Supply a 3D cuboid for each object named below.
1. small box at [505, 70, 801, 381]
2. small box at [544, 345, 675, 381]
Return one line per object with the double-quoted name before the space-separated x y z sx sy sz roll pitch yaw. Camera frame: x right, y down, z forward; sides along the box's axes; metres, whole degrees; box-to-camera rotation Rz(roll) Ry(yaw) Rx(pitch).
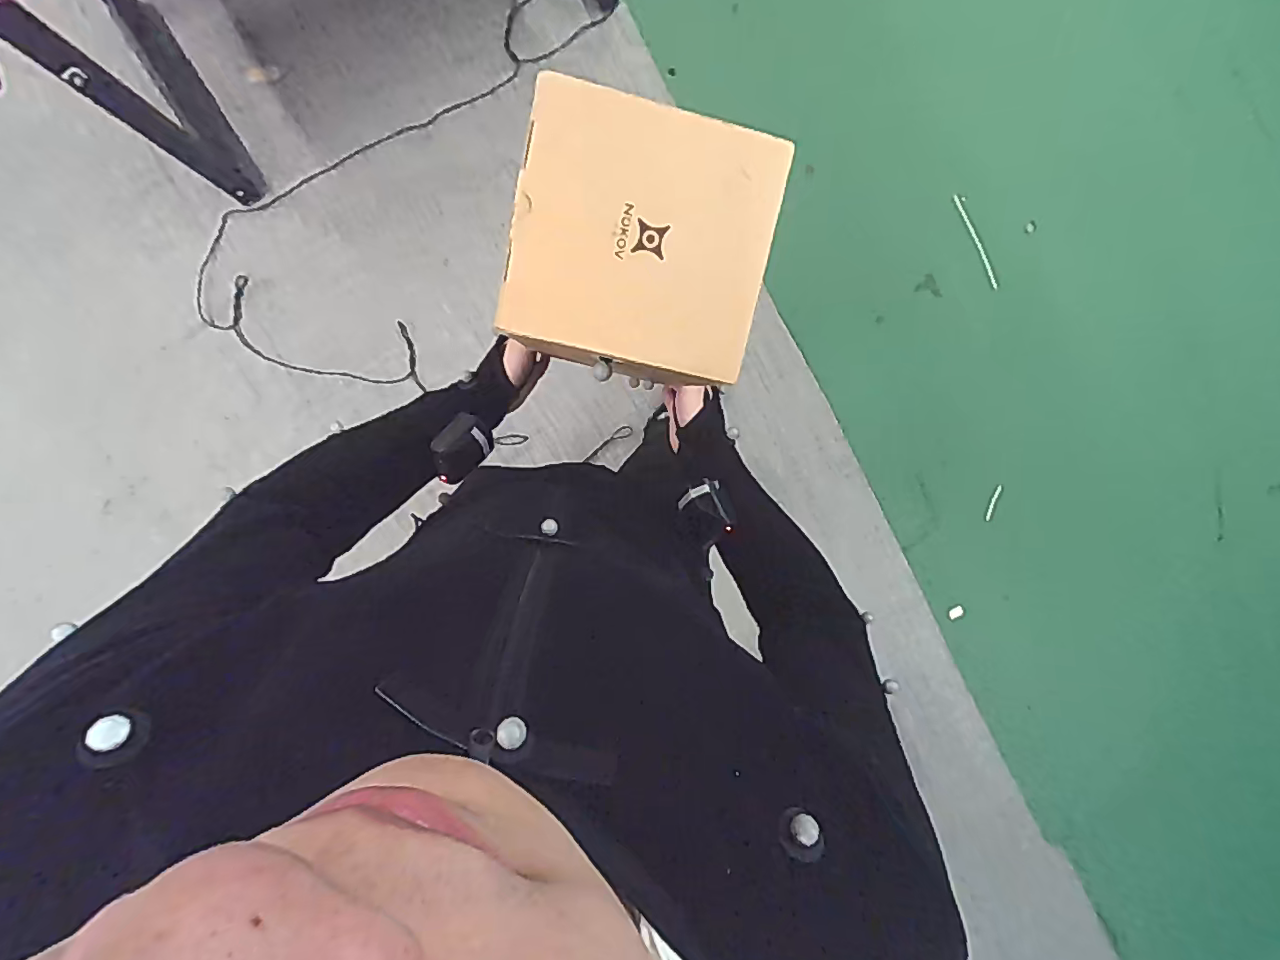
"small box" 0.001 -0.182 0.445 0.179 0.176 0.168 11 99 -7
"small box" -0.027 -0.242 0.765 0.179 0.176 0.168 13 98 -7
